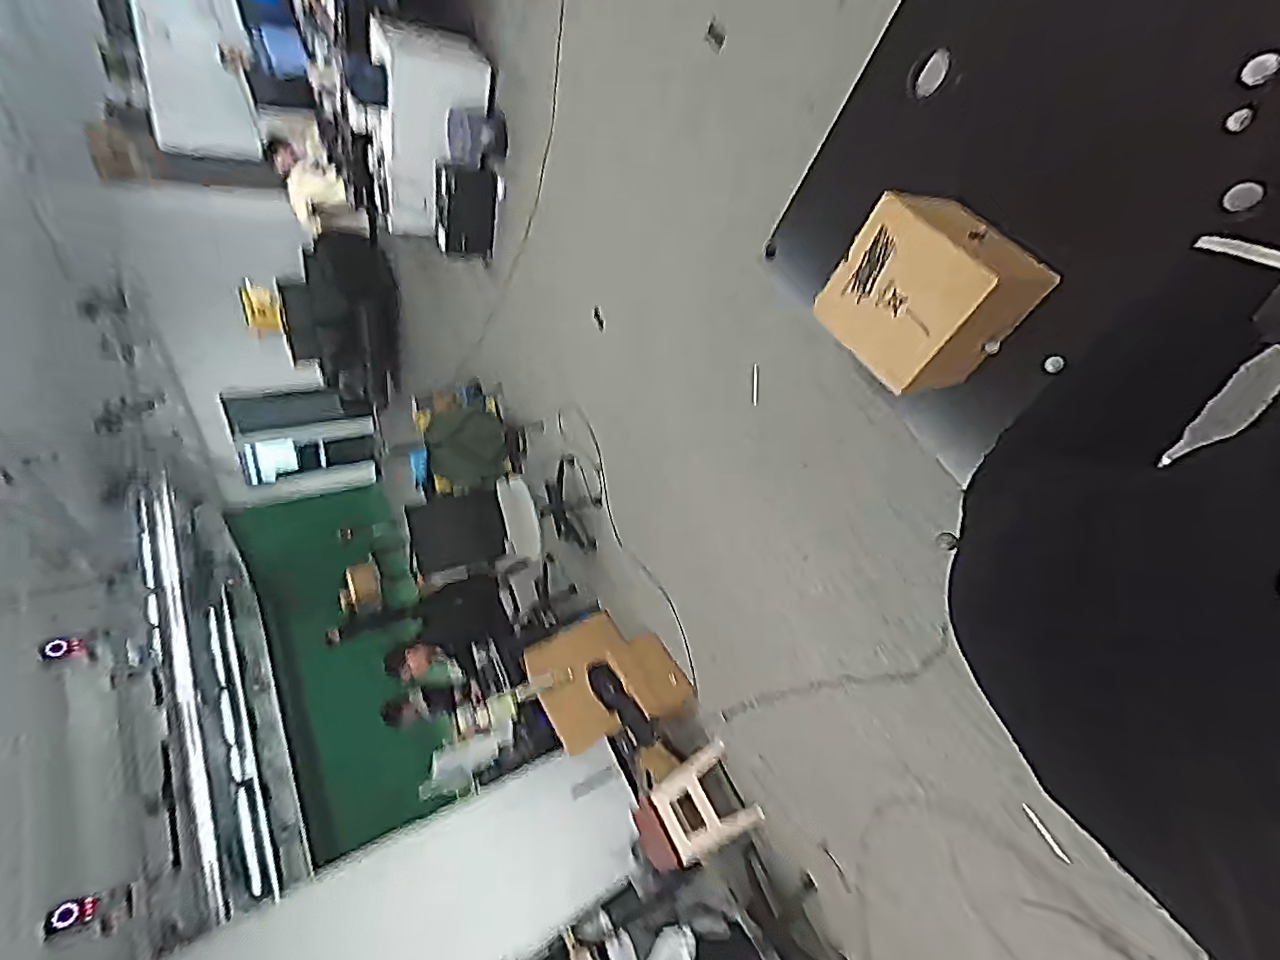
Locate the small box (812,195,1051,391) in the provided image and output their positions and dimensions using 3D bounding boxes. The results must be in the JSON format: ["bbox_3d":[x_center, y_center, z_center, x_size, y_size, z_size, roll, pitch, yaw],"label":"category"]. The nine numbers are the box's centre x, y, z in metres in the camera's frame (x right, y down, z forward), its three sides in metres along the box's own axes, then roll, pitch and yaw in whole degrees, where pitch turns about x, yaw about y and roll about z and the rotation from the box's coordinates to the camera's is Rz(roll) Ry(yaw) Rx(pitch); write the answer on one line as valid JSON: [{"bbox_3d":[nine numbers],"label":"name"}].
[{"bbox_3d":[0.370,-0.239,0.701,0.179,0.176,0.168,56,143,26],"label":"small box"}]
